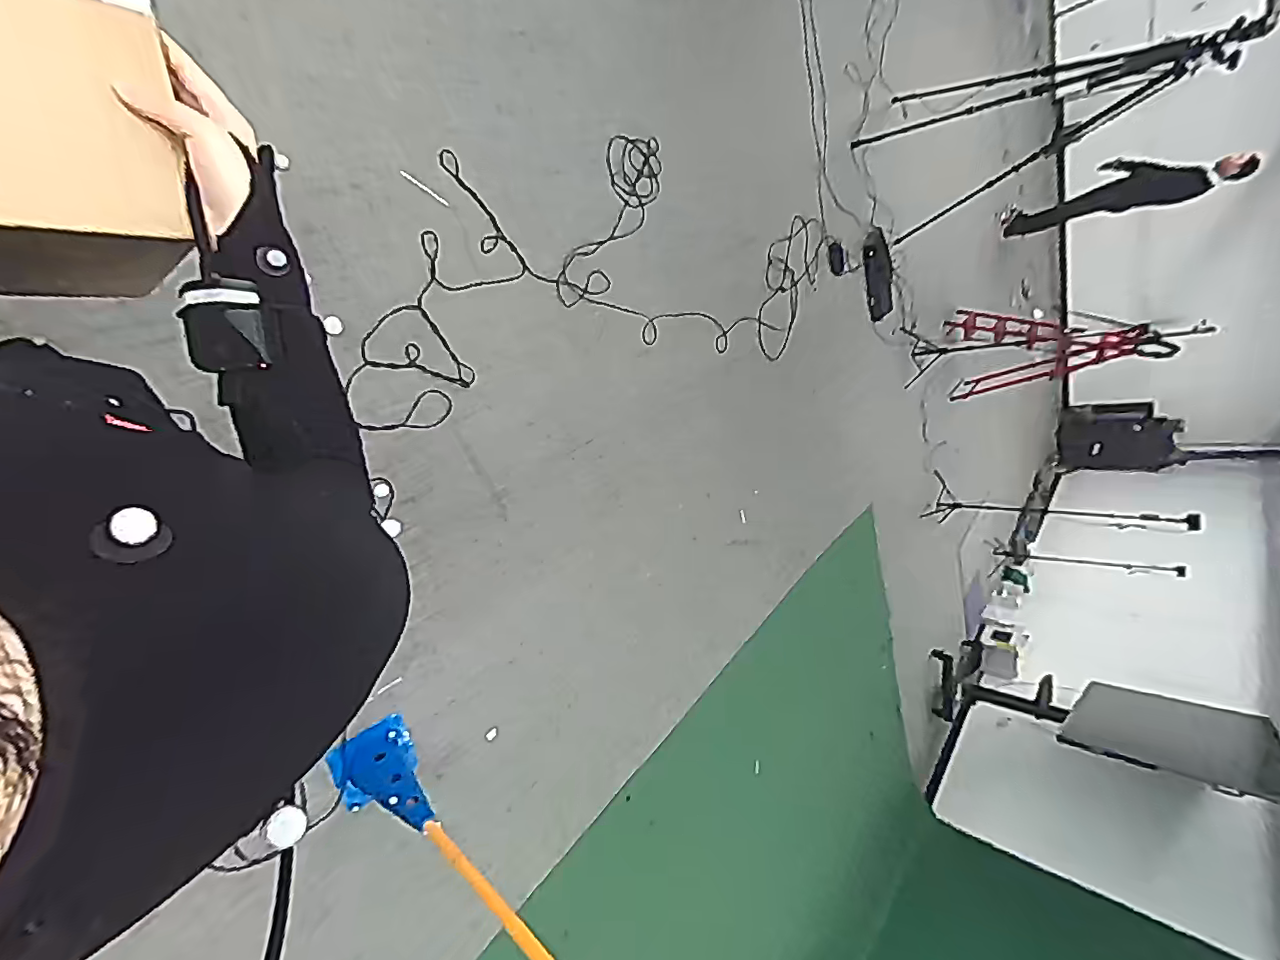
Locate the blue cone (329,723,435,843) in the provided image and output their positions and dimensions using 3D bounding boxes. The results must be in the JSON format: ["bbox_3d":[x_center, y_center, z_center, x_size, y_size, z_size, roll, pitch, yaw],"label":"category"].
[{"bbox_3d":[-0.617,0.792,1.362,0.193,0.380,0.192,-24,109,-42],"label":"blue cone"}]

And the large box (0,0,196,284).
[{"bbox_3d":[-0.596,-0.307,0.333,0.408,0.320,0.320,-20,110,-47],"label":"large box"}]
